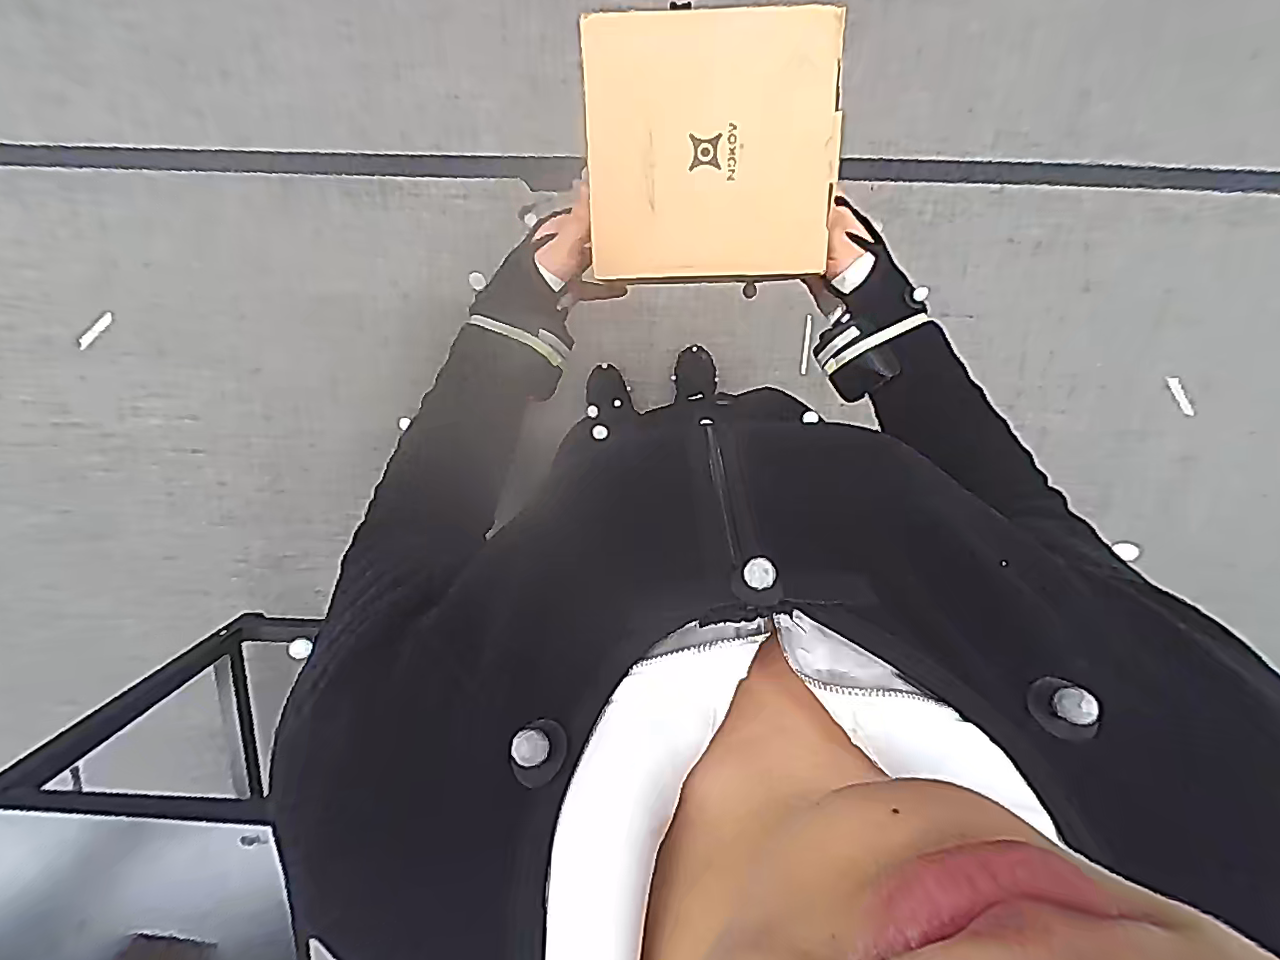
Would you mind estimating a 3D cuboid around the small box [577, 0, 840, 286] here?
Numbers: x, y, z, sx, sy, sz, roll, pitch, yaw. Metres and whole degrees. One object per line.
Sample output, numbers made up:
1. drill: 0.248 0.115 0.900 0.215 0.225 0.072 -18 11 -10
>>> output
1. small box: 0.049 -0.256 0.453 0.179 0.176 0.168 -2 106 3
